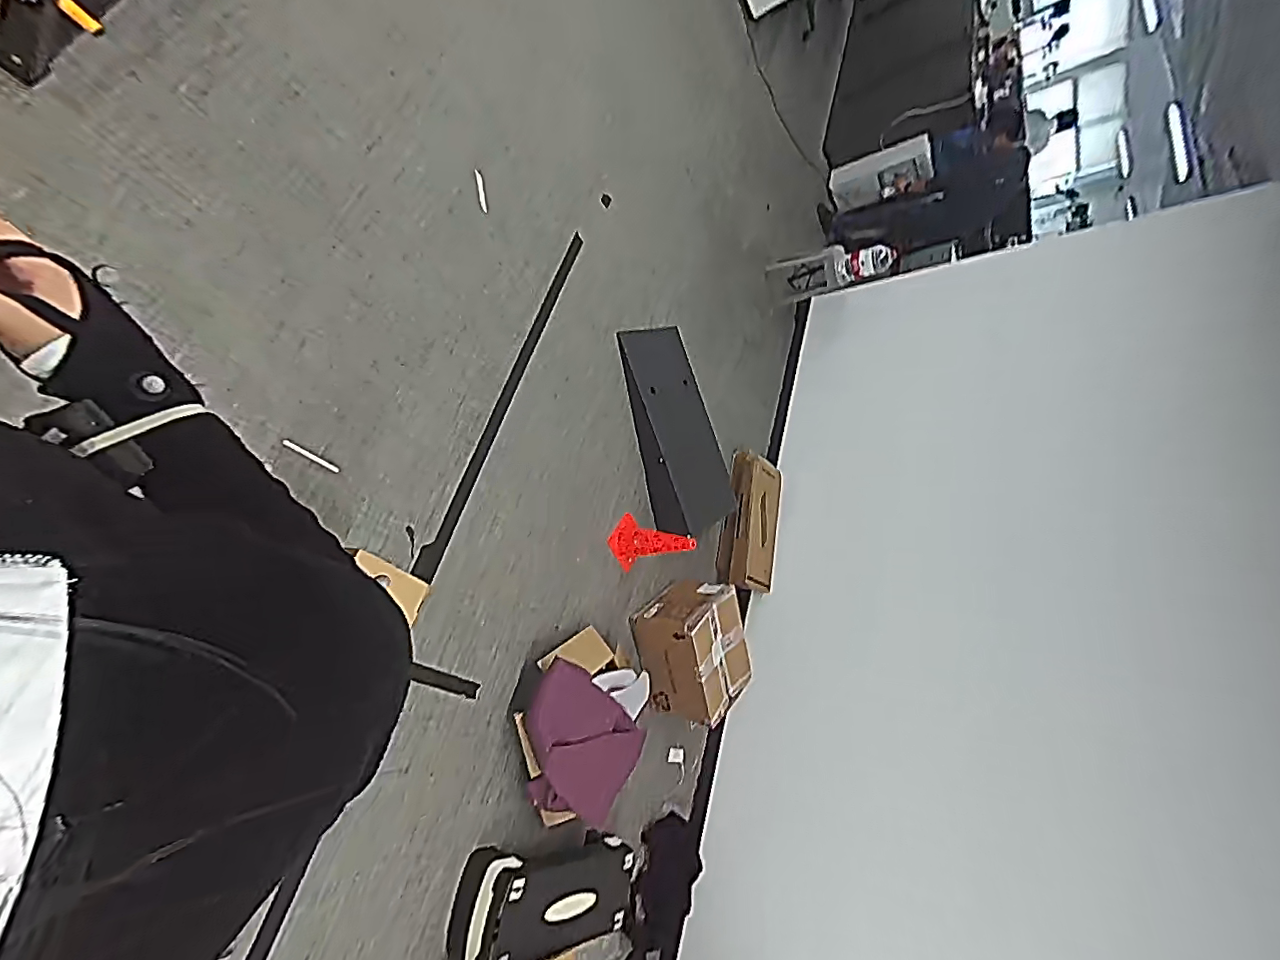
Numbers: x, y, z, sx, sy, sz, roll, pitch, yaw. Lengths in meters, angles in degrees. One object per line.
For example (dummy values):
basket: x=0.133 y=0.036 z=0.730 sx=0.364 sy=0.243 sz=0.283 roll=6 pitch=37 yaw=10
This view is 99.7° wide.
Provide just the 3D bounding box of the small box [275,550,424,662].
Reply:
small box: x=-0.588 y=0.250 z=1.099 sx=0.179 sy=0.176 sz=0.168 roll=45 pitch=54 yaw=-40
